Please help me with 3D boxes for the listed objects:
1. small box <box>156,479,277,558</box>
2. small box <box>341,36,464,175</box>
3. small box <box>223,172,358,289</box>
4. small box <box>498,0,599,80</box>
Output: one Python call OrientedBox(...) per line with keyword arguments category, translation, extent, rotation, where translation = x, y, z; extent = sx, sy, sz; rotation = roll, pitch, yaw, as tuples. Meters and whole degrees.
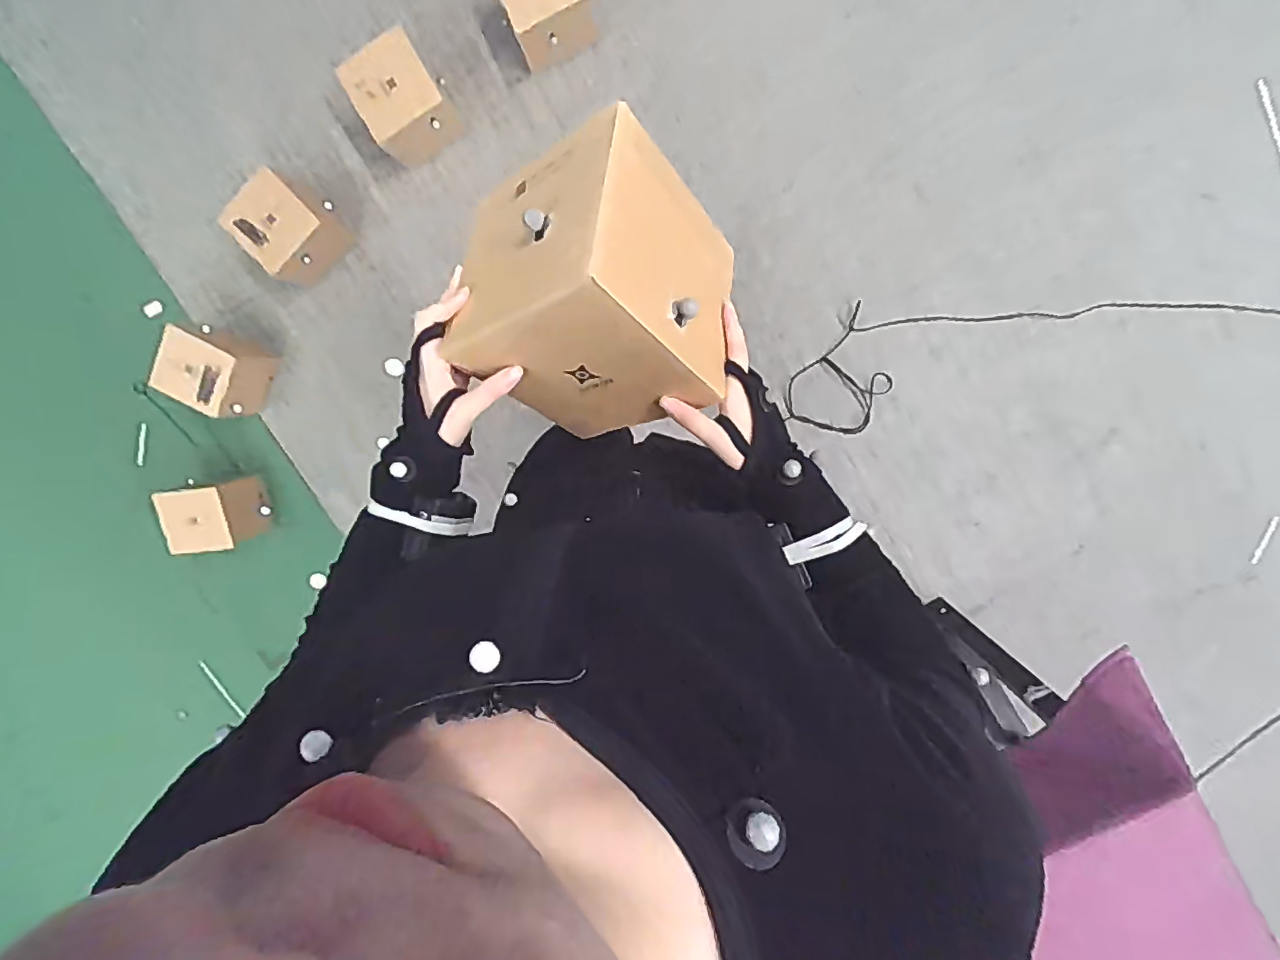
OrientedBox(category="small box", translation=(-1.132, 0.100, 1.457), extent=(0.179, 0.176, 0.168), rotation=(-5, 102, 3))
OrientedBox(category="small box", translation=(-0.524, -0.839, 1.232), extent=(0.179, 0.176, 0.168), rotation=(-29, 99, 7))
OrientedBox(category="small box", translation=(-0.824, -0.583, 1.296), extent=(0.179, 0.176, 0.168), rotation=(-41, 98, 9))
OrientedBox(category="small box", translation=(-0.205, -1.029, 1.182), extent=(0.179, 0.176, 0.168), rotation=(-23, 101, 7))
